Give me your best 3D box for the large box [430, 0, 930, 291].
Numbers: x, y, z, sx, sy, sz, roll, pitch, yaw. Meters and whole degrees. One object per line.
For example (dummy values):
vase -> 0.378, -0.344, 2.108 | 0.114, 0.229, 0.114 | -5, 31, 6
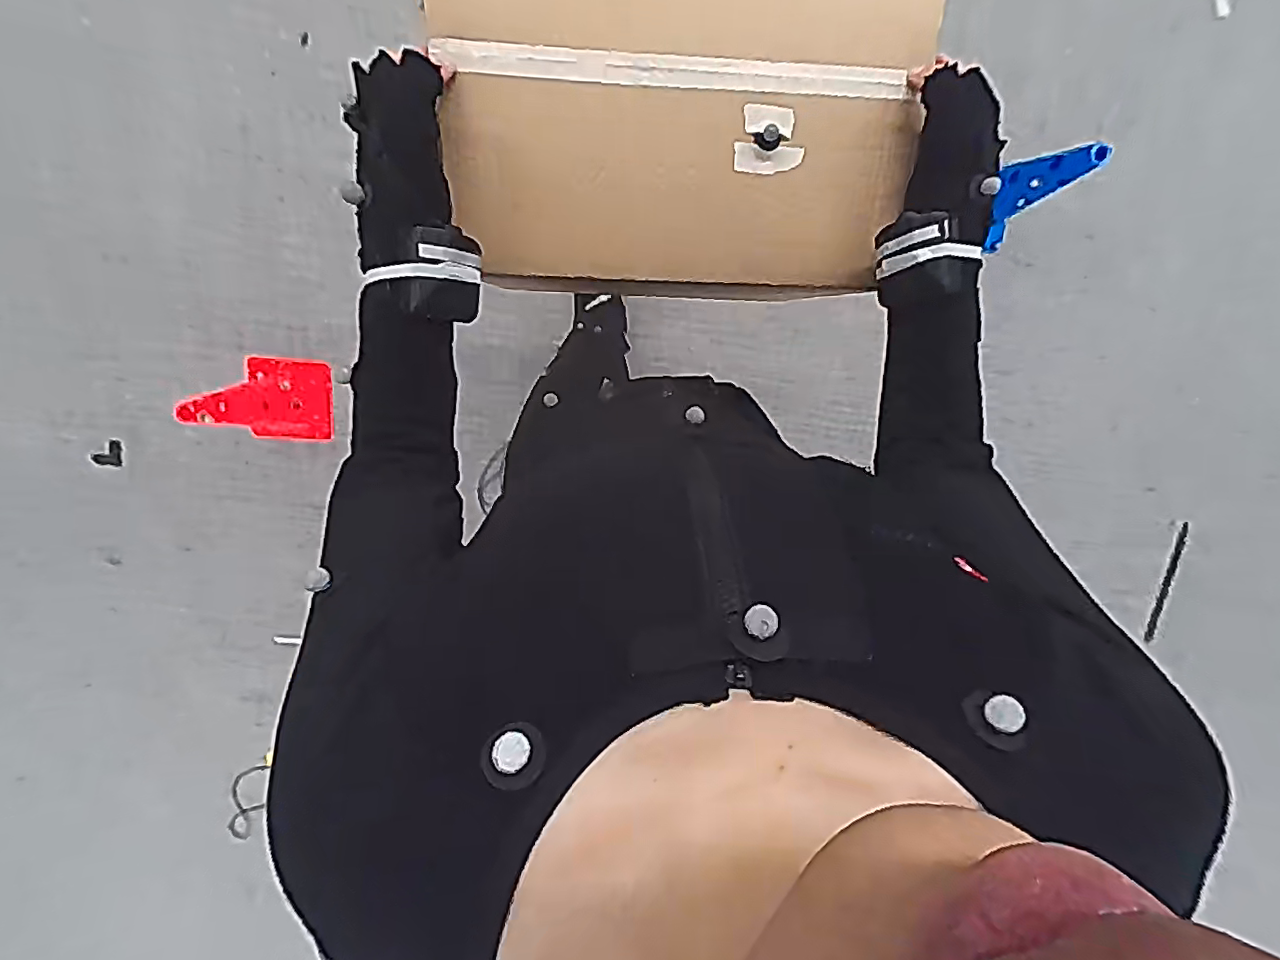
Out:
large box -> 0.022, -0.377, 0.579 | 0.408, 0.320, 0.320 | 0, 107, -5

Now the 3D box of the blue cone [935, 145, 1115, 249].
blue cone -> 0.859, -0.657, 1.202 | 0.192, 0.380, 0.193 | 10, 102, -7

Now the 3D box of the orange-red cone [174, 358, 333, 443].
orange-red cone -> -0.859, -0.157, 1.180 | 0.198, 0.360, 0.199 | 5, 103, -4
